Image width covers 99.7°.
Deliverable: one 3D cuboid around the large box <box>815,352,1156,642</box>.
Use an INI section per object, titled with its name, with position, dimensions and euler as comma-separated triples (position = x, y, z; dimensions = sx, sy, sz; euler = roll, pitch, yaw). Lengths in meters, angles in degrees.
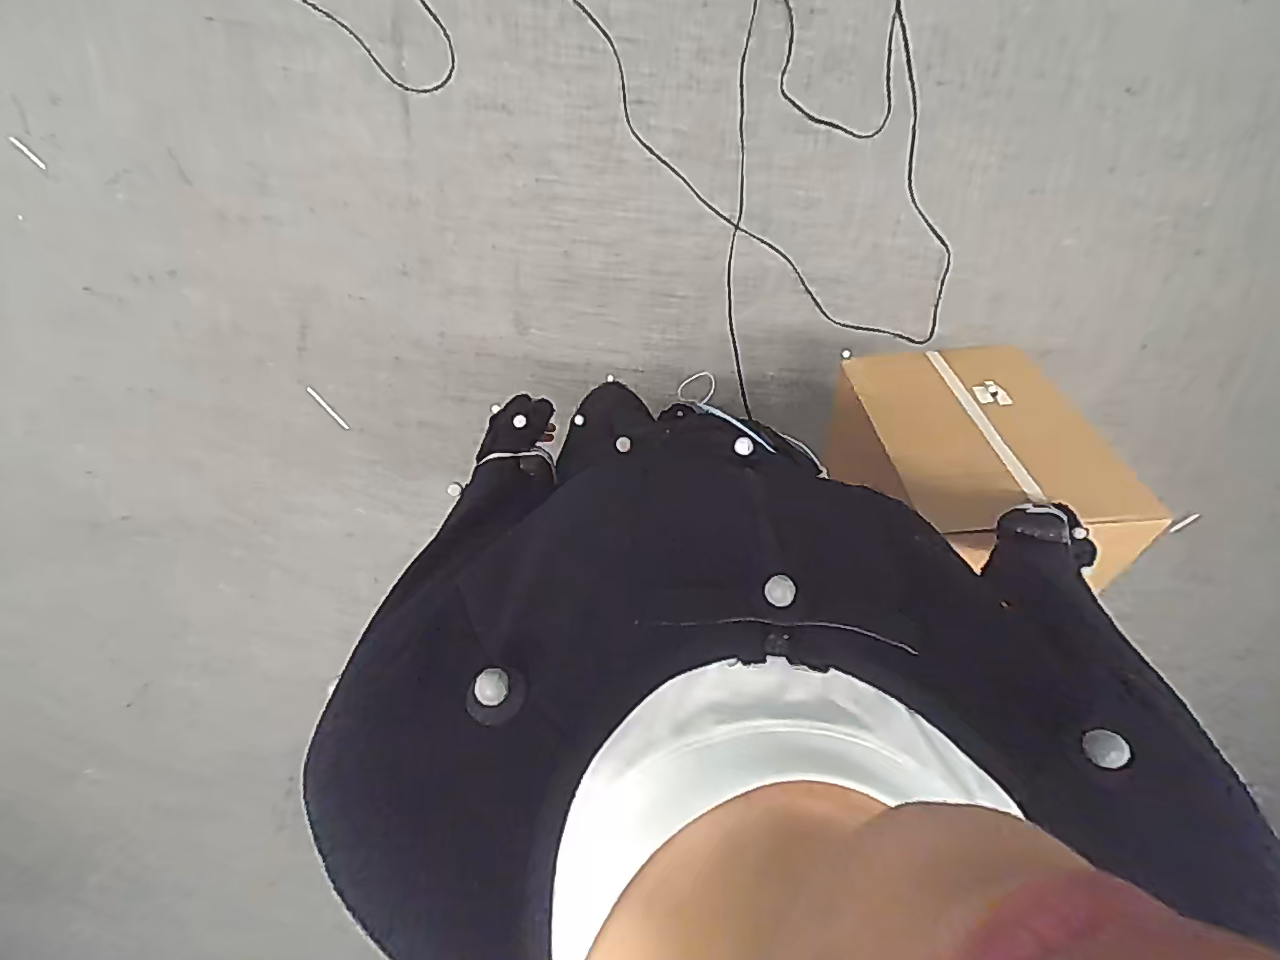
[large box]
position = 0.531, 0.024, 0.953
dimensions = 0.320, 0.408, 0.320
euler = -4, 135, 1
